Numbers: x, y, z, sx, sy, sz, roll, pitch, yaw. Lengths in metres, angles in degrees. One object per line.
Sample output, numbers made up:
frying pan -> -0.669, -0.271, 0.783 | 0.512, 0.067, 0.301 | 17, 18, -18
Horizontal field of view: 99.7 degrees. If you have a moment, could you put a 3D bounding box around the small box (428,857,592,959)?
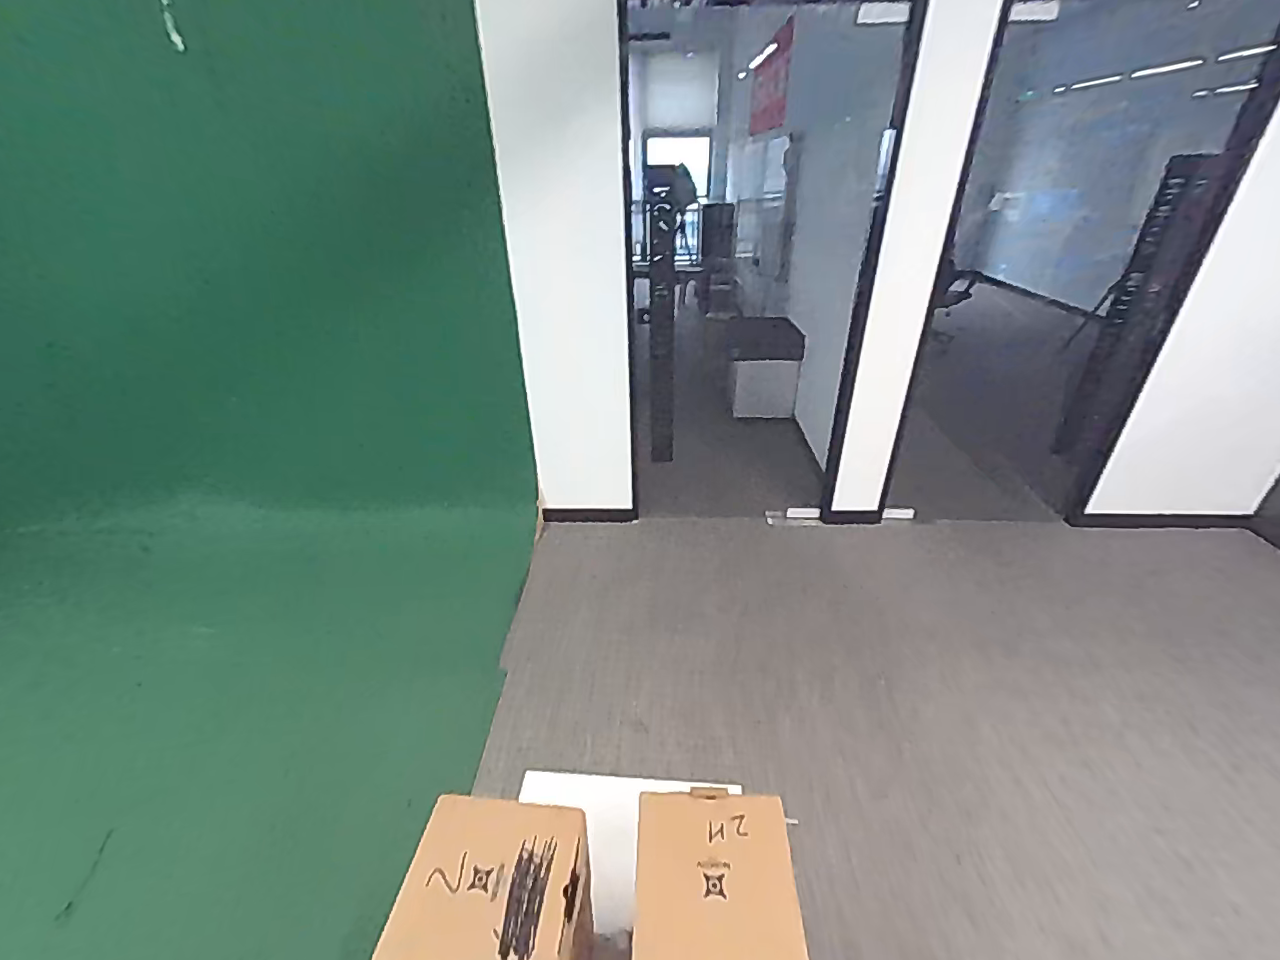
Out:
small box -> -0.161, 0.622, 0.692 | 0.179, 0.176, 0.168 | 4, 31, 4

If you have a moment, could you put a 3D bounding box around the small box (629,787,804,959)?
small box -> 0.078, 0.479, 0.606 | 0.168, 0.176, 0.179 | 1, 30, 3
